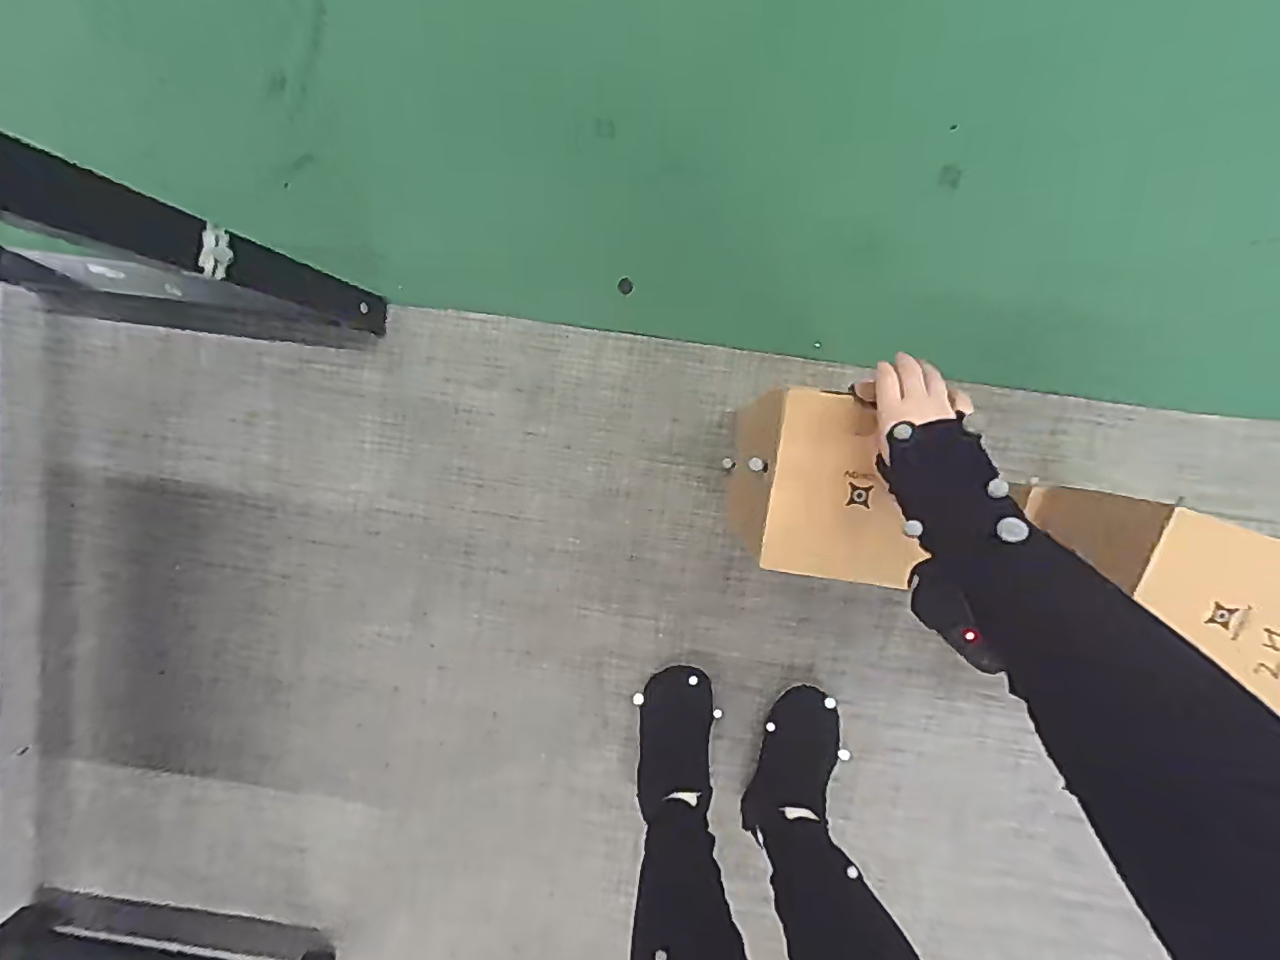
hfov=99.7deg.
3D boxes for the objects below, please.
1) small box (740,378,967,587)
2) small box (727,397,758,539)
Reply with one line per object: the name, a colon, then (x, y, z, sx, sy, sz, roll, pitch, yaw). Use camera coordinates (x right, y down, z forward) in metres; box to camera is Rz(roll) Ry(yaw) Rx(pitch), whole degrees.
small box: (0.204, -0.004, 0.570, 0.168, 0.176, 0.179, 7, 96, 3)
small box: (0.214, -0.014, 0.732, 0.168, 0.176, 0.179, 6, 96, 2)
